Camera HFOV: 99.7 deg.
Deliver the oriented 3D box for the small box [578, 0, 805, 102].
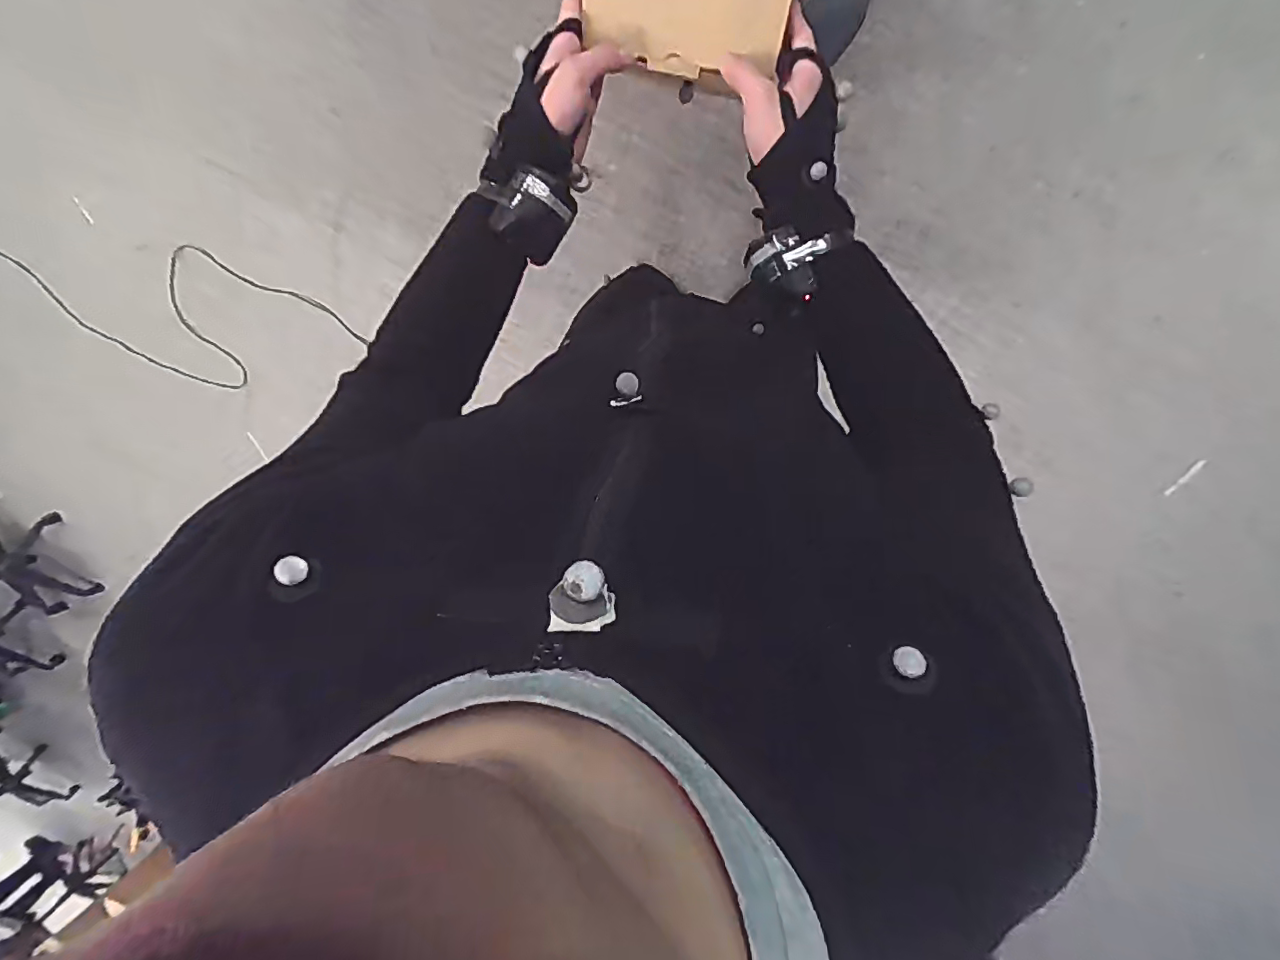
[{"bbox_3d":[0.059,-0.438,0.453,0.168,0.176,0.179,15,121,6],"label":"small box"}]
